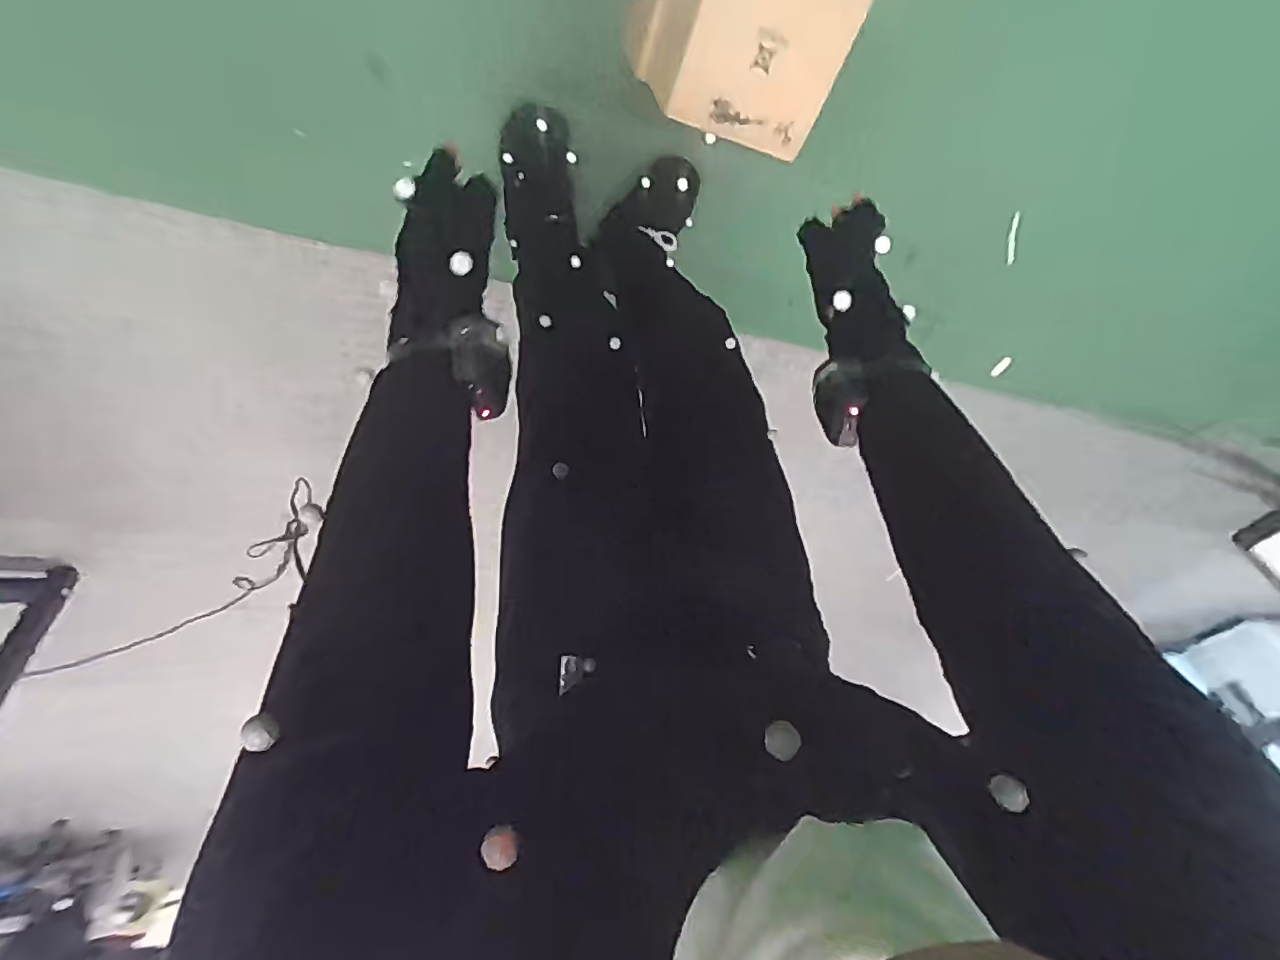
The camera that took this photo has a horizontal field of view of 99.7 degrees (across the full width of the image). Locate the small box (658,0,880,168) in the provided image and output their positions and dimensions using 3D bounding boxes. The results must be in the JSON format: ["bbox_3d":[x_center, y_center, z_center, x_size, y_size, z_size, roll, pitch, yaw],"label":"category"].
[{"bbox_3d":[0.126,-0.492,0.605,0.168,0.176,0.179,8,135,-19],"label":"small box"}]

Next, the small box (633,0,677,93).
[{"bbox_3d":[0.097,-0.598,0.701,0.168,0.176,0.179,11,135,-20],"label":"small box"}]
